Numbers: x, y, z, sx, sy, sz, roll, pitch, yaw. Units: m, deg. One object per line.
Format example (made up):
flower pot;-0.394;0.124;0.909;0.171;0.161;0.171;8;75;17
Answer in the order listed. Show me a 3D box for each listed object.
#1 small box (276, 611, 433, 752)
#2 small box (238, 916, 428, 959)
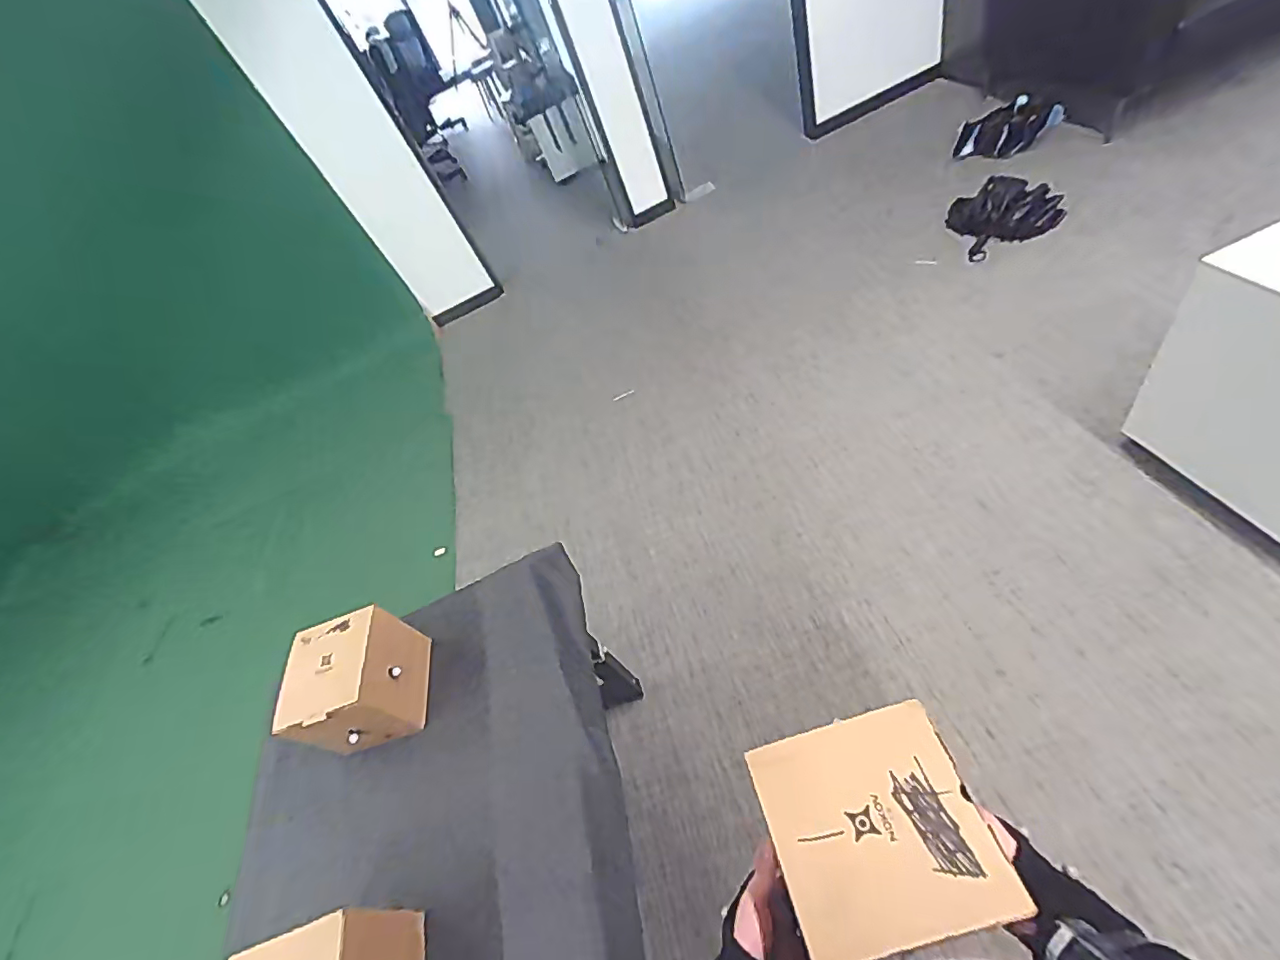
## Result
small box;-0.490;0.365;0.958;0.168;0.176;0.179;-20;48;8
small box;-0.380;0.670;0.665;0.168;0.176;0.179;-25;46;3
